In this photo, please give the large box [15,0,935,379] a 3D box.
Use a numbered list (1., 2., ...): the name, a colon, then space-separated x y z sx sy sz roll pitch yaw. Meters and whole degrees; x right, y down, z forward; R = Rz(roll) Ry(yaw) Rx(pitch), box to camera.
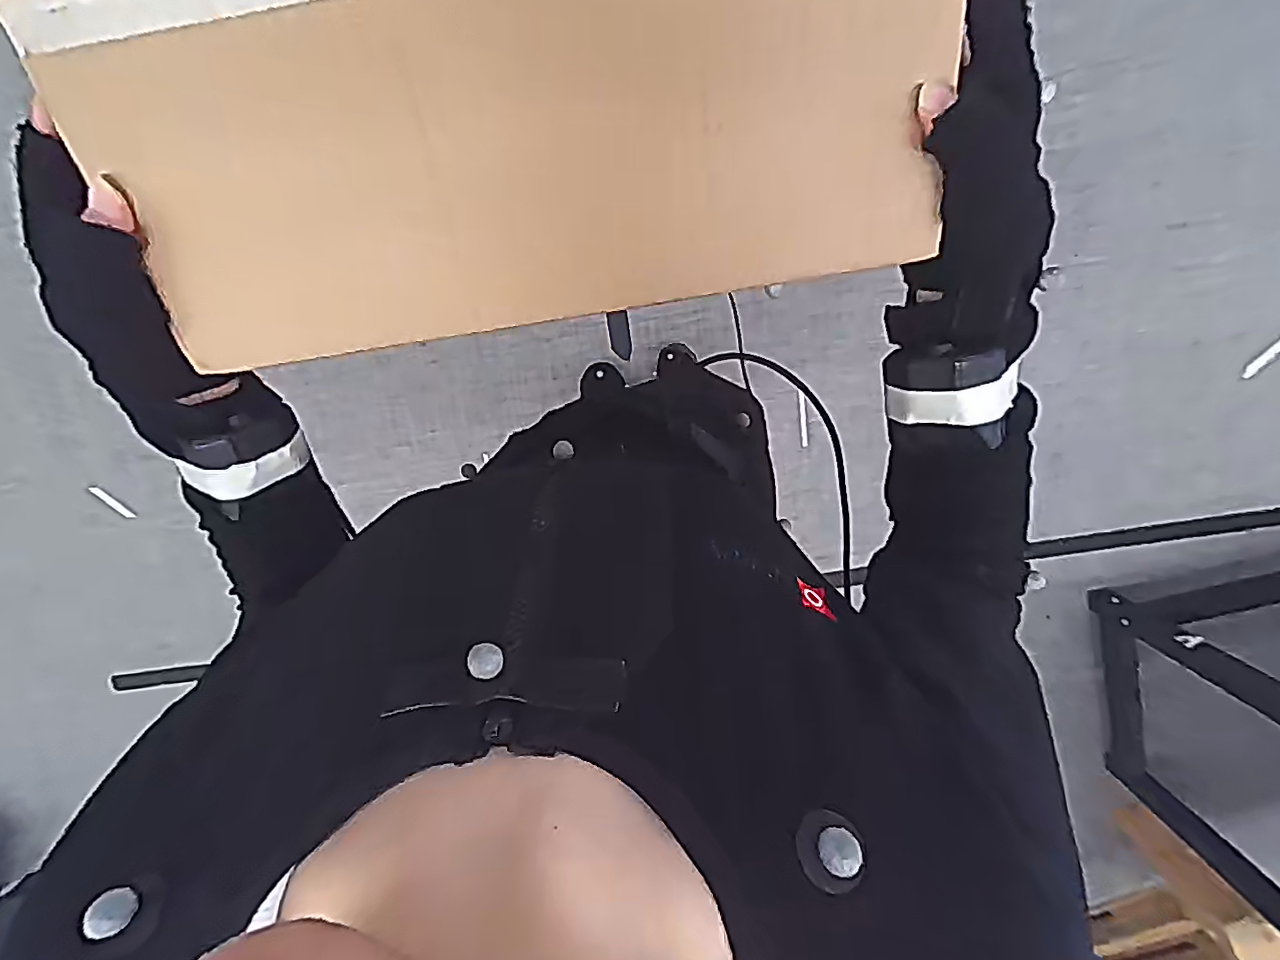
1. large box: -0.071 -0.292 0.362 0.408 0.320 0.320 -8 117 4
